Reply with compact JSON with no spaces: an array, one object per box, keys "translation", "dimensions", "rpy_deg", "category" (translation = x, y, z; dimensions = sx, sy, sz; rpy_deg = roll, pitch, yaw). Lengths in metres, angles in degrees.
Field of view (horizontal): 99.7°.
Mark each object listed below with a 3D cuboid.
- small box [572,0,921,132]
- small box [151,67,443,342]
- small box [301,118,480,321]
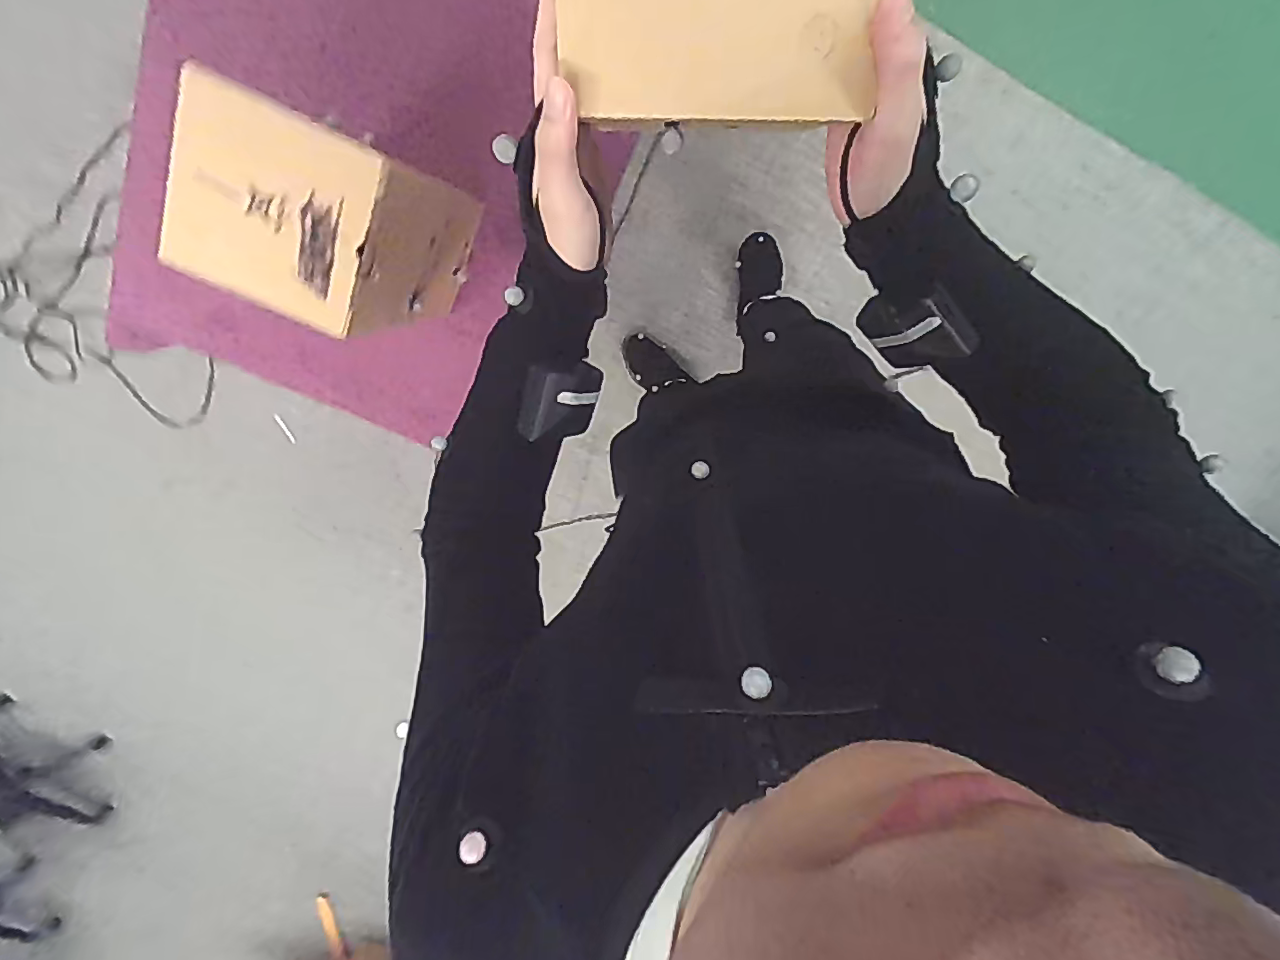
[{"translation":[0.056,-0.301,0.301],"dimensions":[0.168,0.176,0.179],"rpy_deg":[3,121,2],"category":"small box"},{"translation":[-0.325,-0.258,0.544],"dimensions":[0.179,0.176,0.168],"rpy_deg":[23,108,-6],"category":"small box"},{"translation":[-0.332,-0.319,0.695],"dimensions":[0.179,0.176,0.168],"rpy_deg":[23,108,-8],"category":"small box"}]
